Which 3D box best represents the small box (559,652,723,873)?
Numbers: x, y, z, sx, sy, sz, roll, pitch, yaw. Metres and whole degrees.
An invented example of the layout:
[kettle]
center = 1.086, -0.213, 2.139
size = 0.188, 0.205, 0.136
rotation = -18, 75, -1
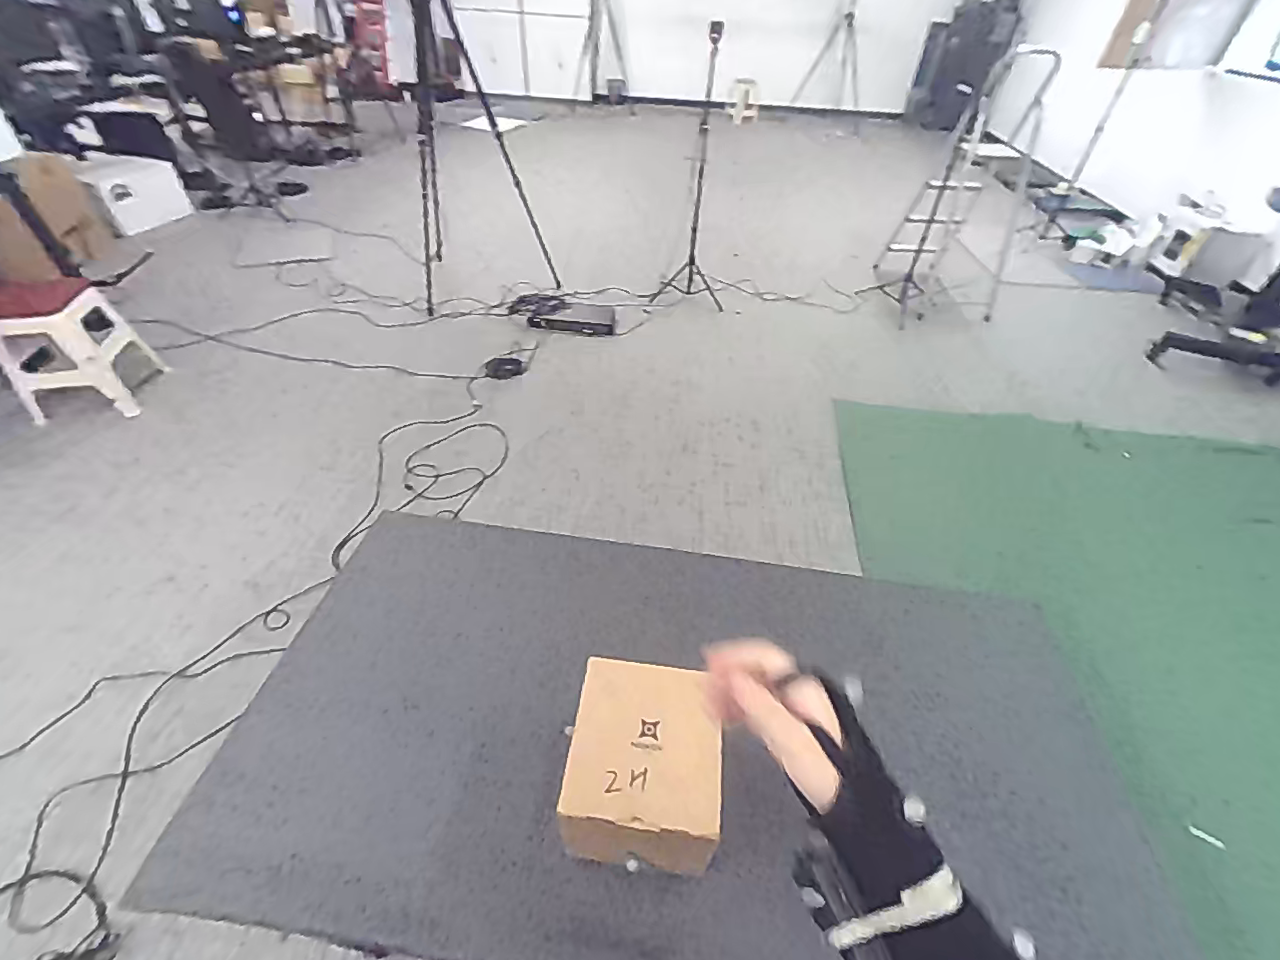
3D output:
[small box]
center = 0.005, 0.337, 0.649
size = 0.168, 0.176, 0.179
rotation = 6, 43, 4
